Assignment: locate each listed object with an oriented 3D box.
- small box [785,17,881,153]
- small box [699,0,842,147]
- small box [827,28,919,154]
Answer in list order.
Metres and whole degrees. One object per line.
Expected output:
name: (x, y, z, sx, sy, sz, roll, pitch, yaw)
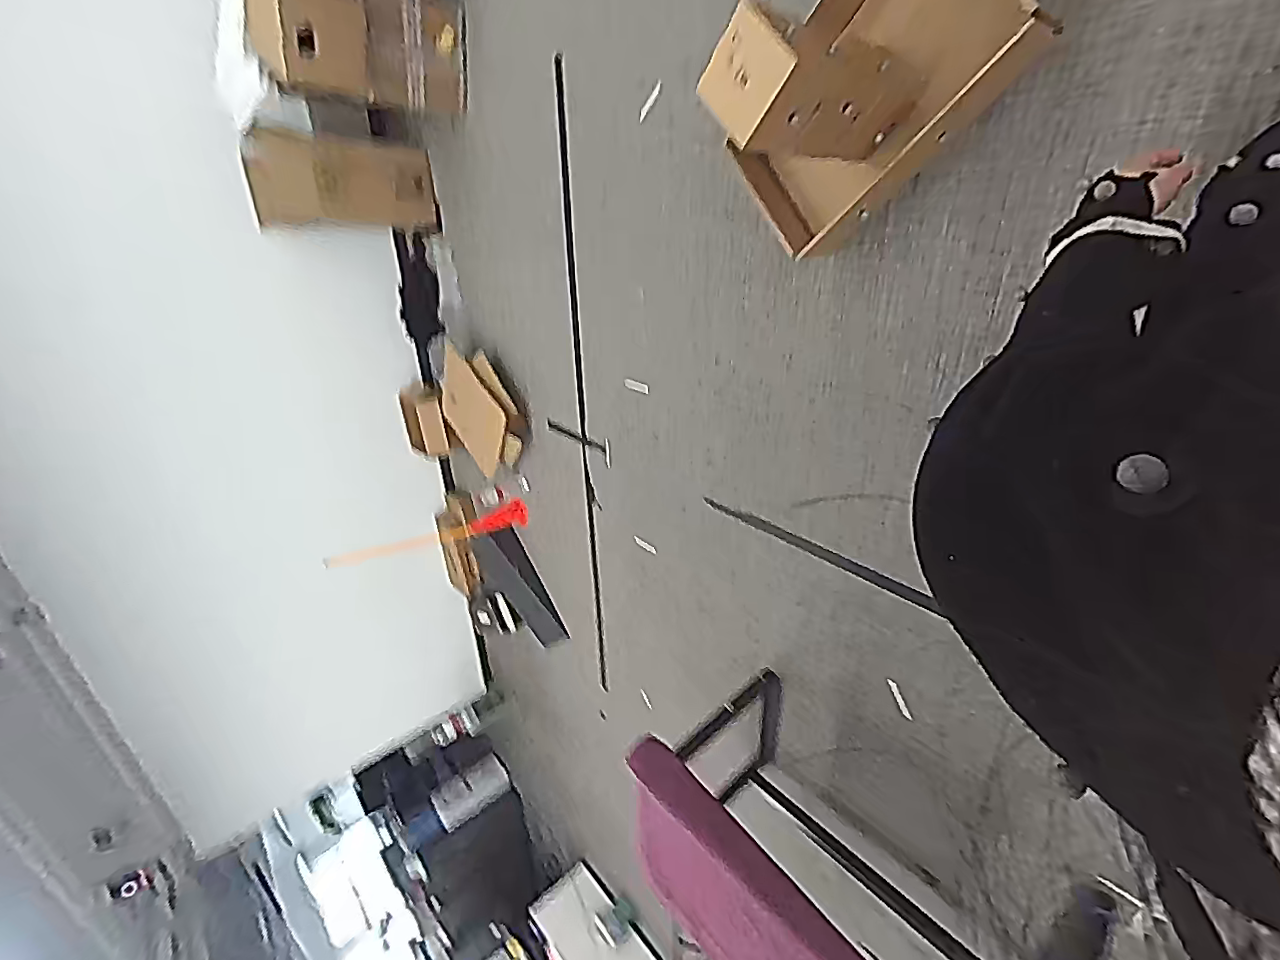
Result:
small box: (0.376, -0.833, 1.158, 0.179, 0.176, 0.168, 60, 142, 12)
small box: (0.256, -0.783, 1.055, 0.179, 0.176, 0.168, 59, 141, 11)
small box: (0.500, -0.883, 1.249, 0.179, 0.176, 0.168, 61, 143, 7)
